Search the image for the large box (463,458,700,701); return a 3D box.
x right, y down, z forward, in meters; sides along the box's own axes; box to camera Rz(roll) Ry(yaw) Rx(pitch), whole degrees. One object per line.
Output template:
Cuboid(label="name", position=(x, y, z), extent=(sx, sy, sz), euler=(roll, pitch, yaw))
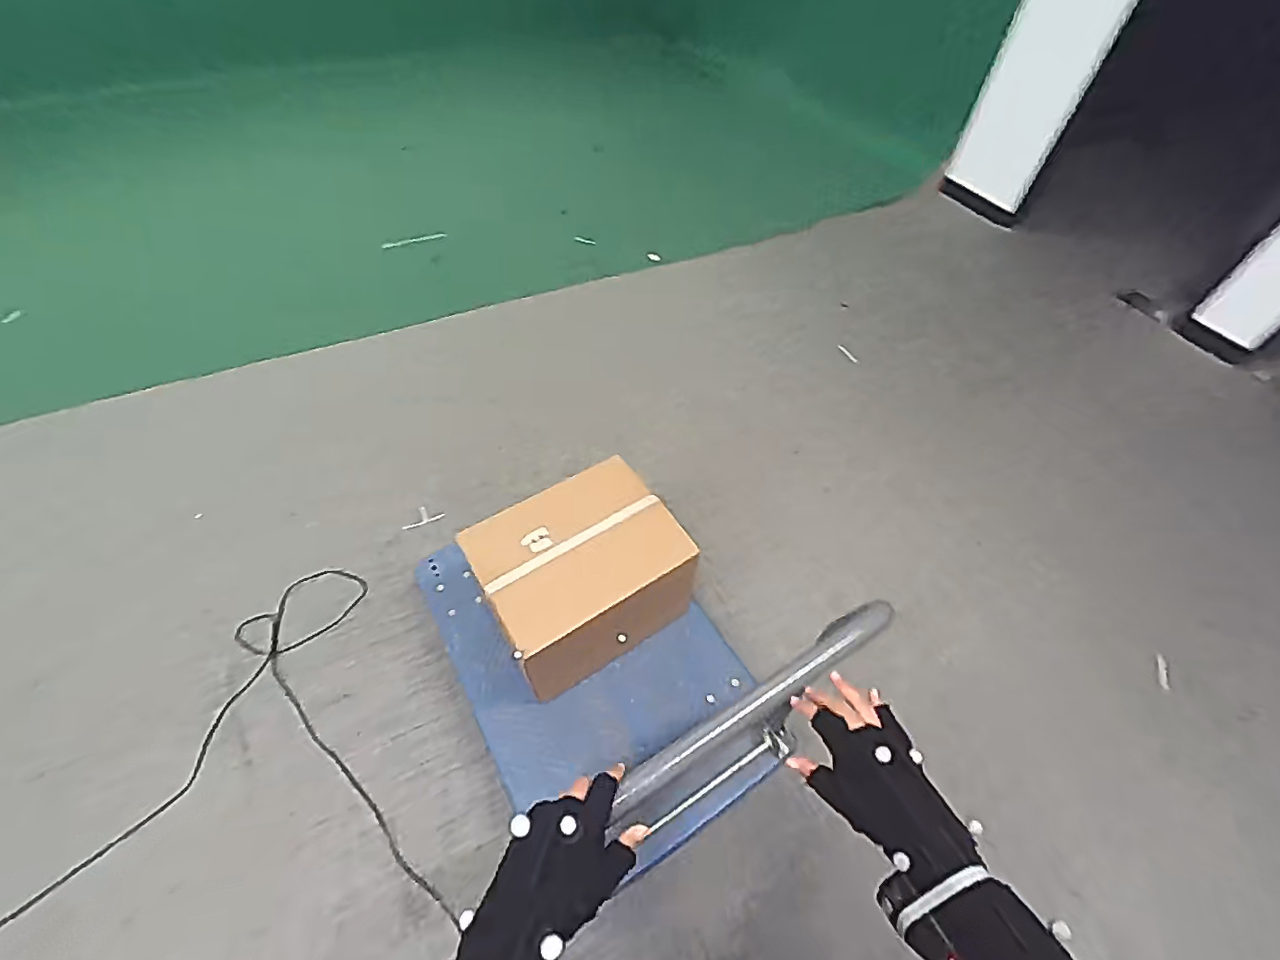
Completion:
Cuboid(label="large box", position=(-0.123, 0.224, 1.234), extent=(0.408, 0.320, 0.320), euler=(-29, 59, -21))
